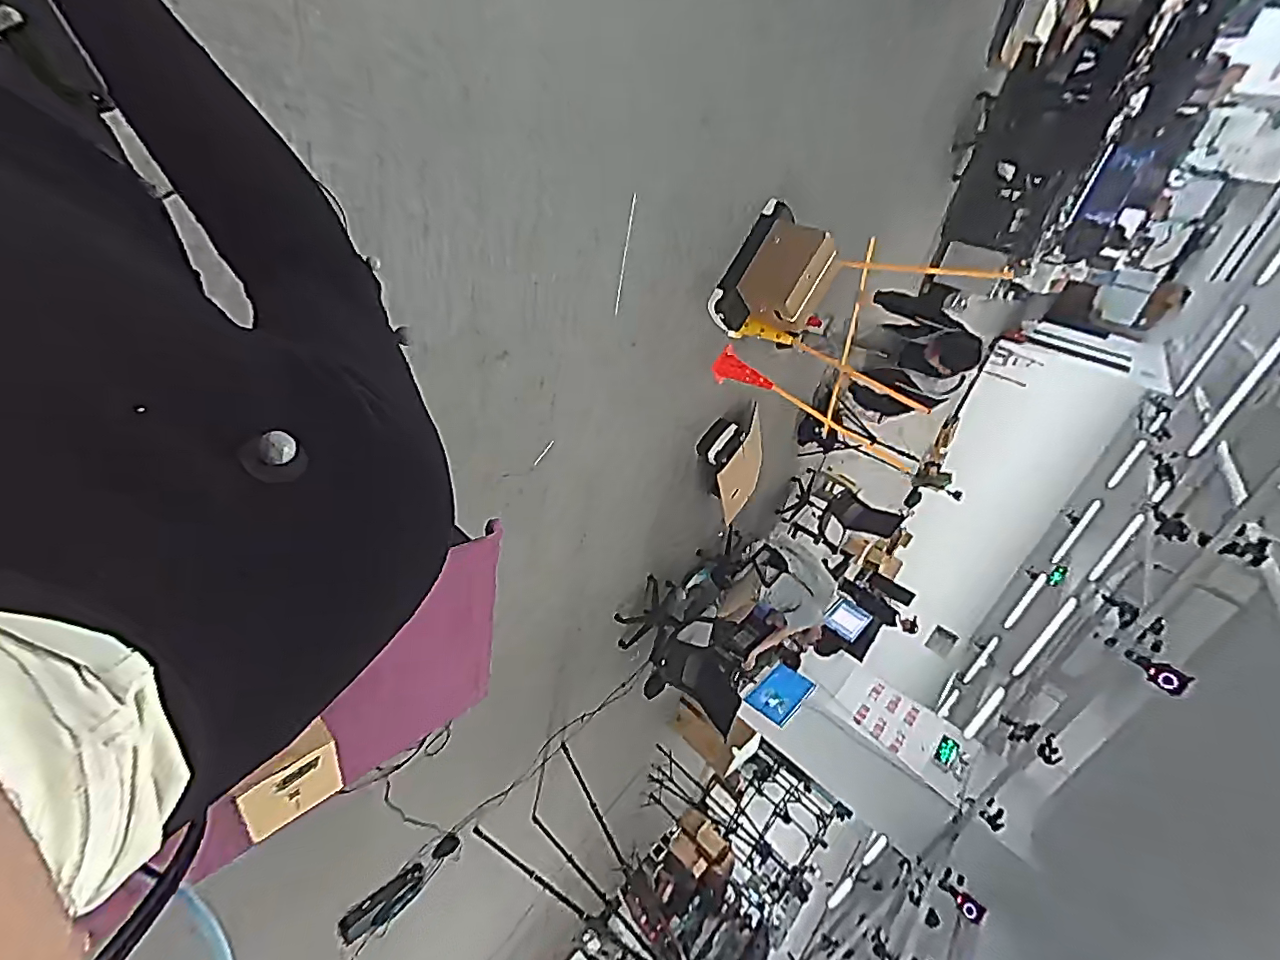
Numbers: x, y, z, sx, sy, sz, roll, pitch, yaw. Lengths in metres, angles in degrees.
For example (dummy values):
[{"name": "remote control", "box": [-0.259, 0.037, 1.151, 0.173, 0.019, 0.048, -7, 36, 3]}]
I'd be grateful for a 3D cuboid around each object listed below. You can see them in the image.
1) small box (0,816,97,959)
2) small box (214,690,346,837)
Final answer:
[{"name": "small box", "box": [-0.978, 0.667, 0.816, 0.179, 0.176, 0.168, -23, 136, -45]}, {"name": "small box", "box": [-0.723, 0.556, 1.091, 0.168, 0.176, 0.179, -24, 137, -44]}]
